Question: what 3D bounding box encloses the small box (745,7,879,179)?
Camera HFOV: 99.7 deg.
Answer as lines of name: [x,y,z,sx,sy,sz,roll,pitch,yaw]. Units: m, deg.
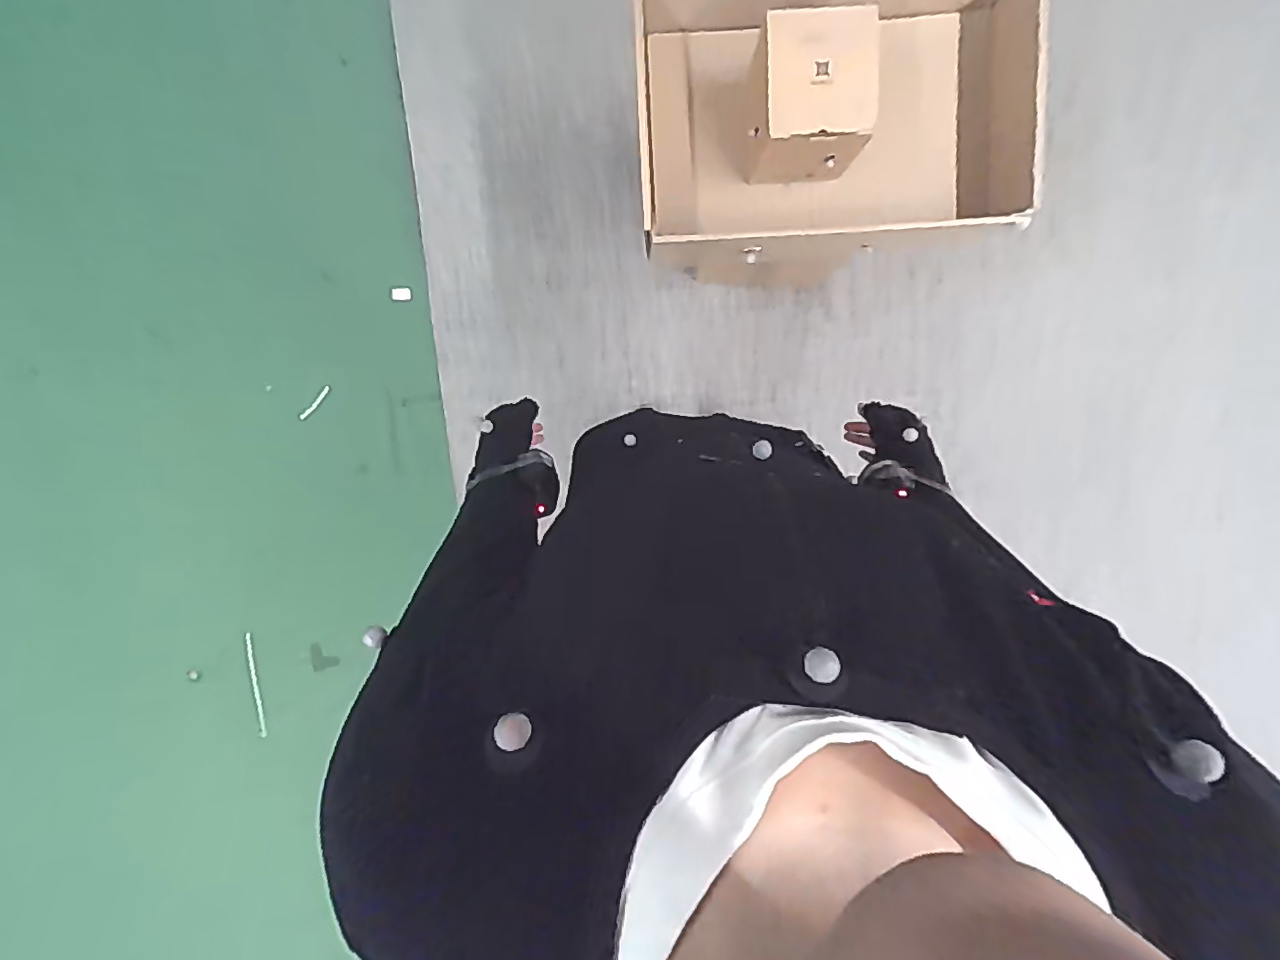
small box: [0.270,-0.611,0.879,0.168,0.176,0.179,-3,96,-1]
